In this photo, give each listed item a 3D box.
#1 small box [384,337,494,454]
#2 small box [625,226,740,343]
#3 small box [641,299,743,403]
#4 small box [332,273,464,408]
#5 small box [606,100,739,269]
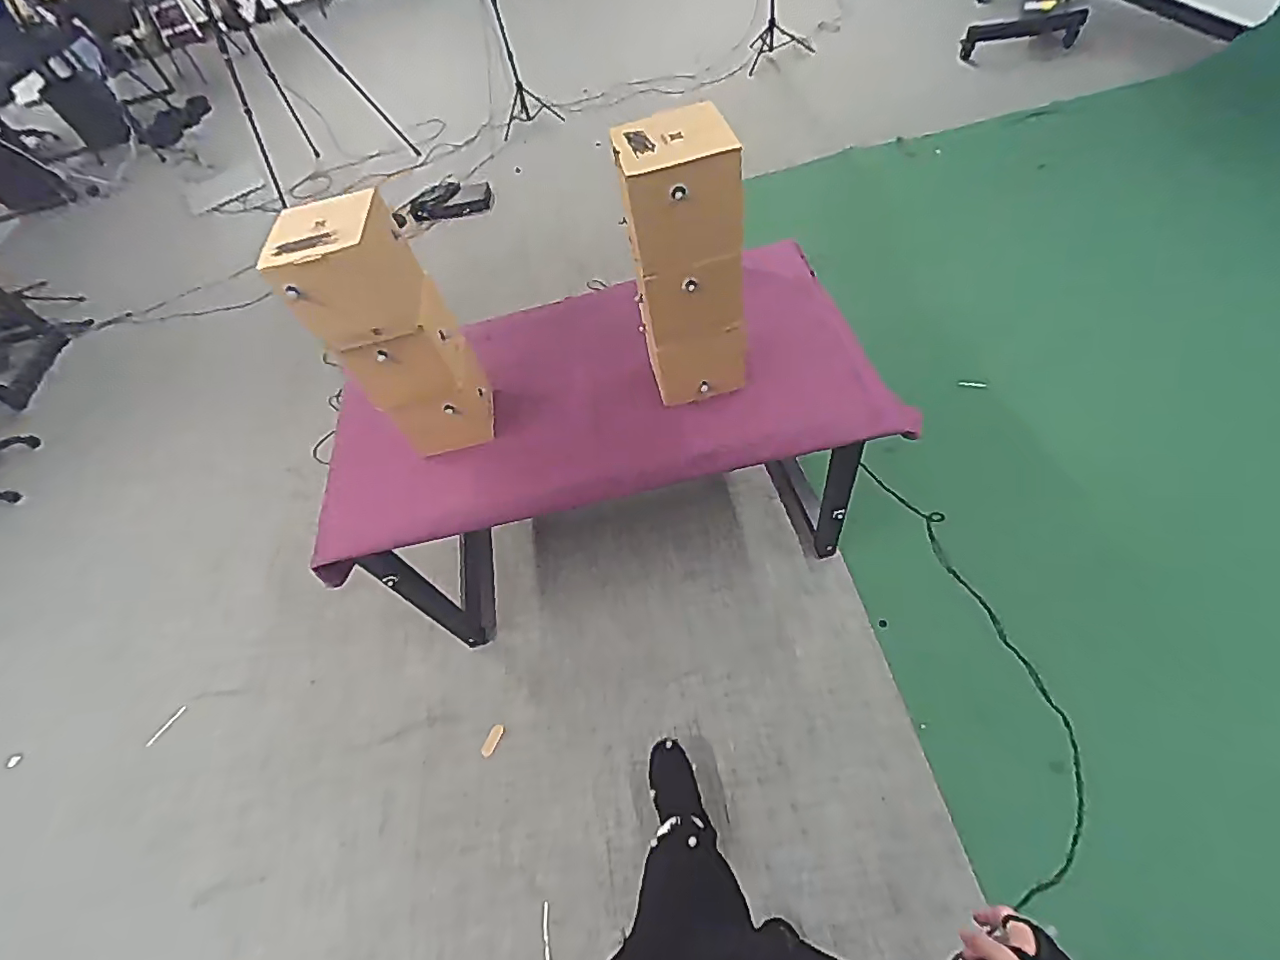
[{"bbox_3d":[-0.431,-0.181,1.191,0.179,0.176,0.168,-13,55,2],"label":"small box"},{"bbox_3d":[0.083,-0.383,1.018,0.179,0.176,0.168,-14,56,3],"label":"small box"},{"bbox_3d":[0.111,-0.292,1.151,0.179,0.176,0.168,-15,54,2],"label":"small box"},{"bbox_3d":[-0.458,-0.267,1.057,0.179,0.176,0.168,-14,56,3],"label":"small box"},{"bbox_3d":[0.057,-0.475,0.885,0.179,0.176,0.168,-15,56,2],"label":"small box"}]
